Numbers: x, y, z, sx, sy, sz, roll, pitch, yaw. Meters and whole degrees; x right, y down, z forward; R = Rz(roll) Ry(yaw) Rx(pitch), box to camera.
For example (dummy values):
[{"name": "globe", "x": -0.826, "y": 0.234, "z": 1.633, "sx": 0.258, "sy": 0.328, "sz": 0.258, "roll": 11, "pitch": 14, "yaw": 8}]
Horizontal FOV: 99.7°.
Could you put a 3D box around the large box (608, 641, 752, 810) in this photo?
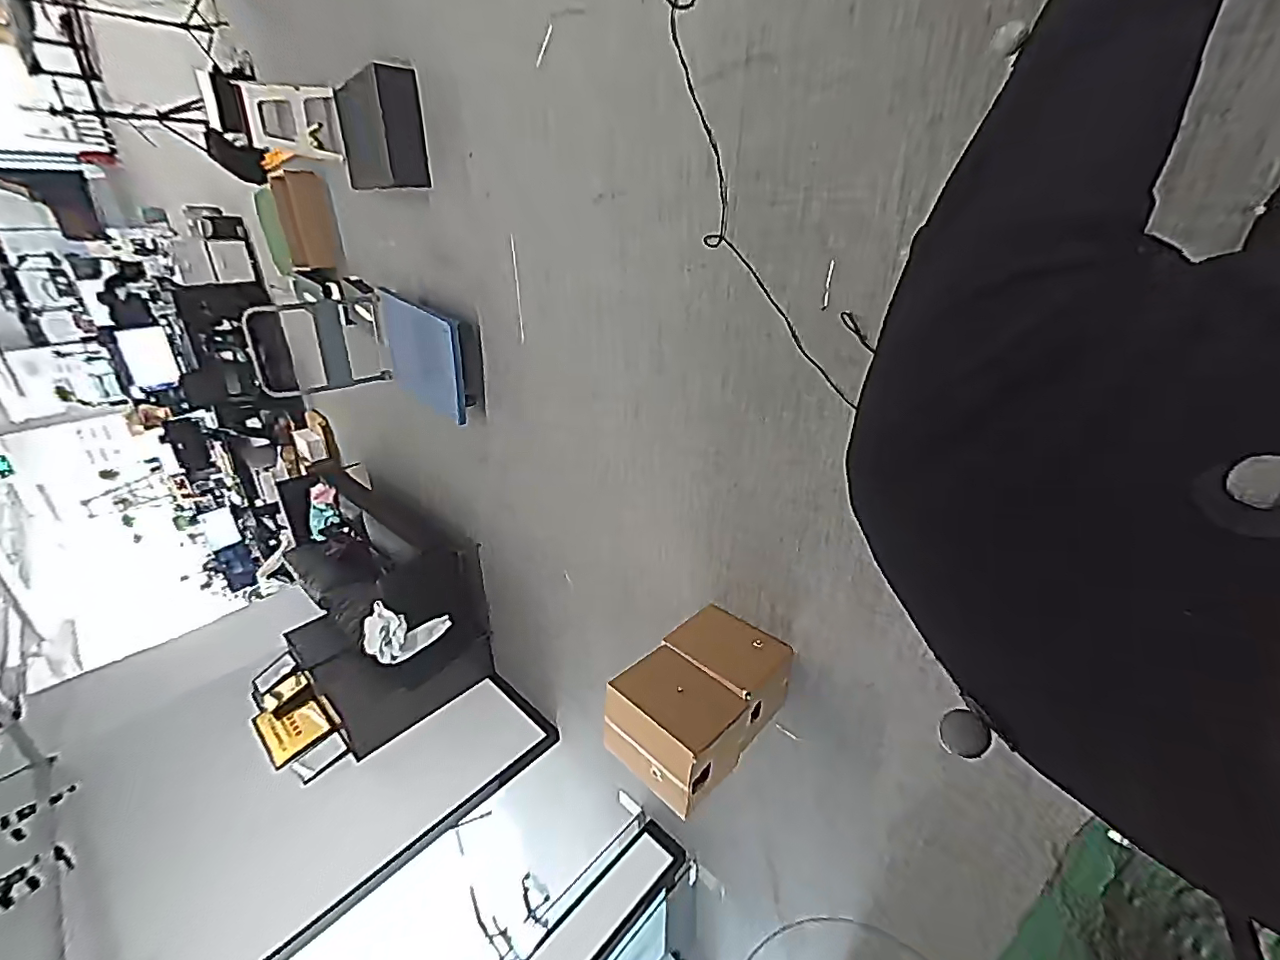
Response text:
[{"name": "large box", "x": 0.135, "y": 0.856, "z": 1.946, "sx": 0.408, "sy": 0.320, "sz": 0.320, "roll": 24, "pitch": 121, "yaw": 37}]
